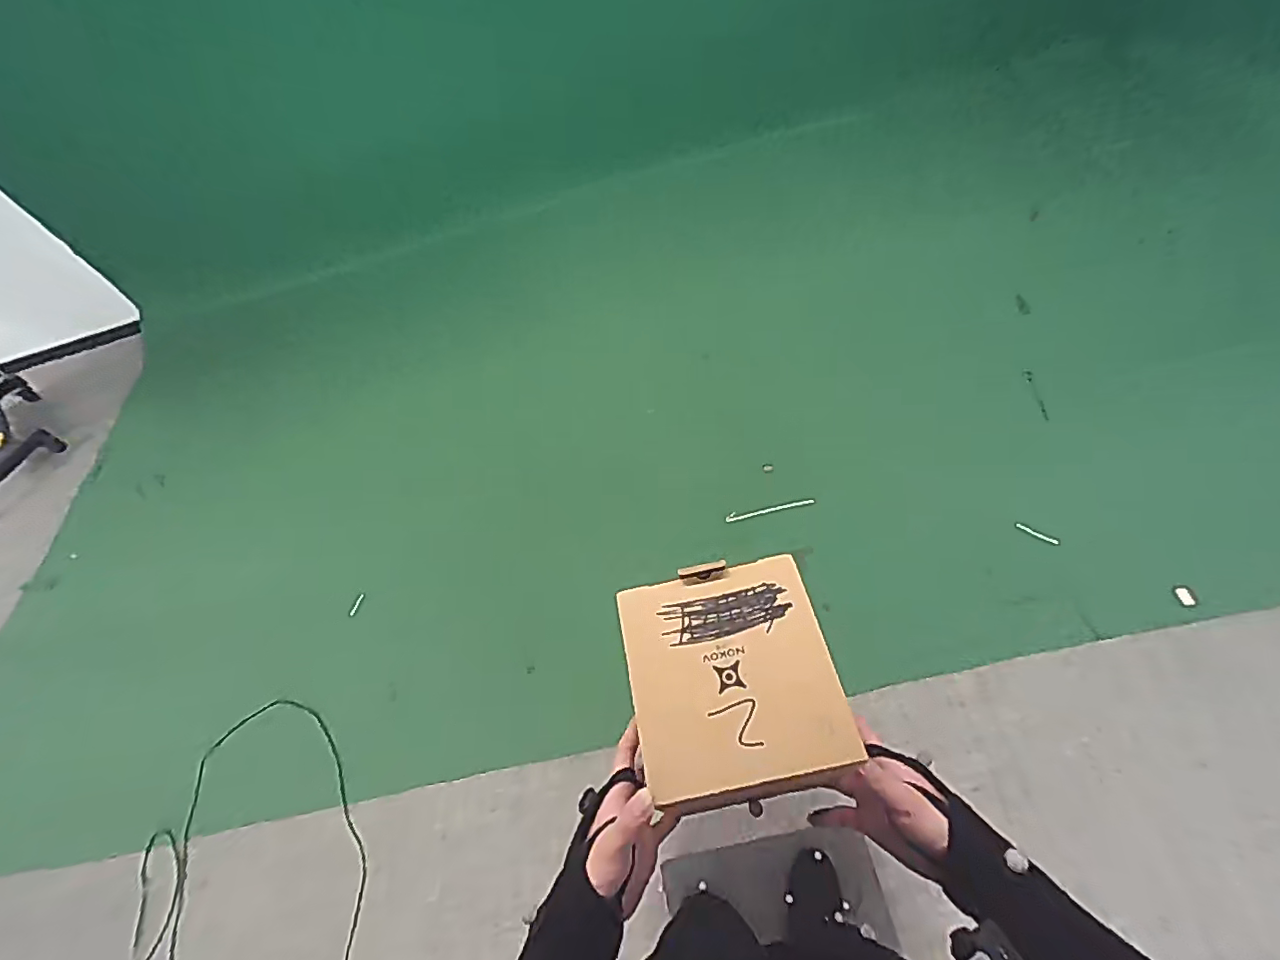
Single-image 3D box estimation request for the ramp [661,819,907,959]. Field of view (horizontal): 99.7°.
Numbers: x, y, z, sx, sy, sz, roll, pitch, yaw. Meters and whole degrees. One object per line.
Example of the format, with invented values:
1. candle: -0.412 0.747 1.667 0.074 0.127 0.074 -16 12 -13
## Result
1. ramp: 0.388 1.294 1.080 0.509 0.206 0.991 -16 56 3
